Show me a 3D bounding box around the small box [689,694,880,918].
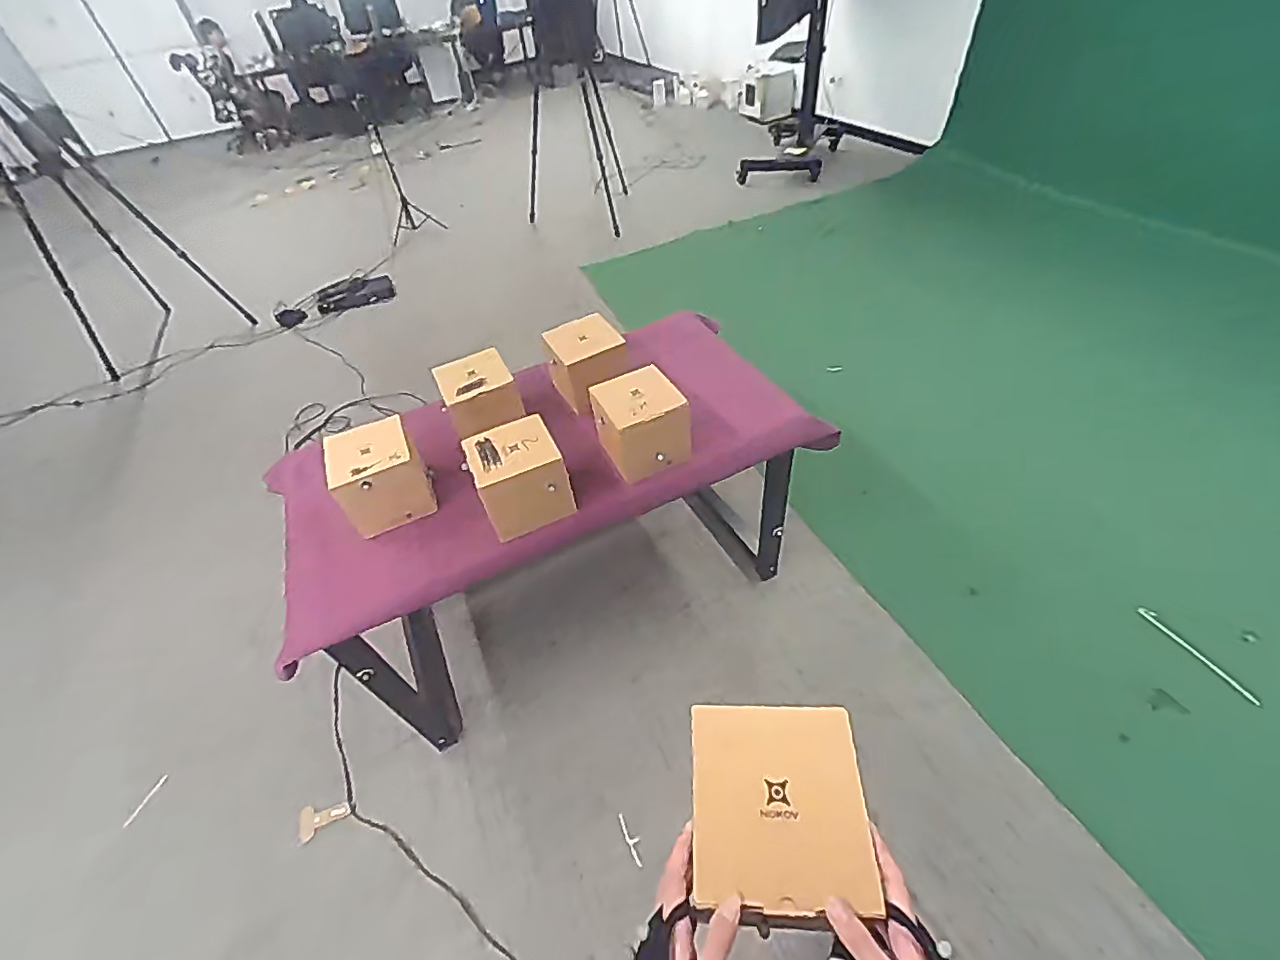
[{"bbox_3d":[0.136,0.352,0.586,0.168,0.176,0.179,-1,49,5],"label":"small box"}]

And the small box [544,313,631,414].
[{"bbox_3d":[-0.134,-0.305,1.422,0.168,0.176,0.179,-25,50,-14],"label":"small box"}]

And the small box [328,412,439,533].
[{"bbox_3d":[-0.568,-0.016,1.203,0.168,0.176,0.179,-23,48,-12],"label":"small box"}]

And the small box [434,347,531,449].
[{"bbox_3d":[-0.390,-0.198,1.353,0.168,0.176,0.179,-24,48,-14],"label":"small box"}]

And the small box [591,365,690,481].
[{"bbox_3d":[0.003,-0.130,1.234,0.168,0.176,0.179,-22,47,-12],"label":"small box"}]
